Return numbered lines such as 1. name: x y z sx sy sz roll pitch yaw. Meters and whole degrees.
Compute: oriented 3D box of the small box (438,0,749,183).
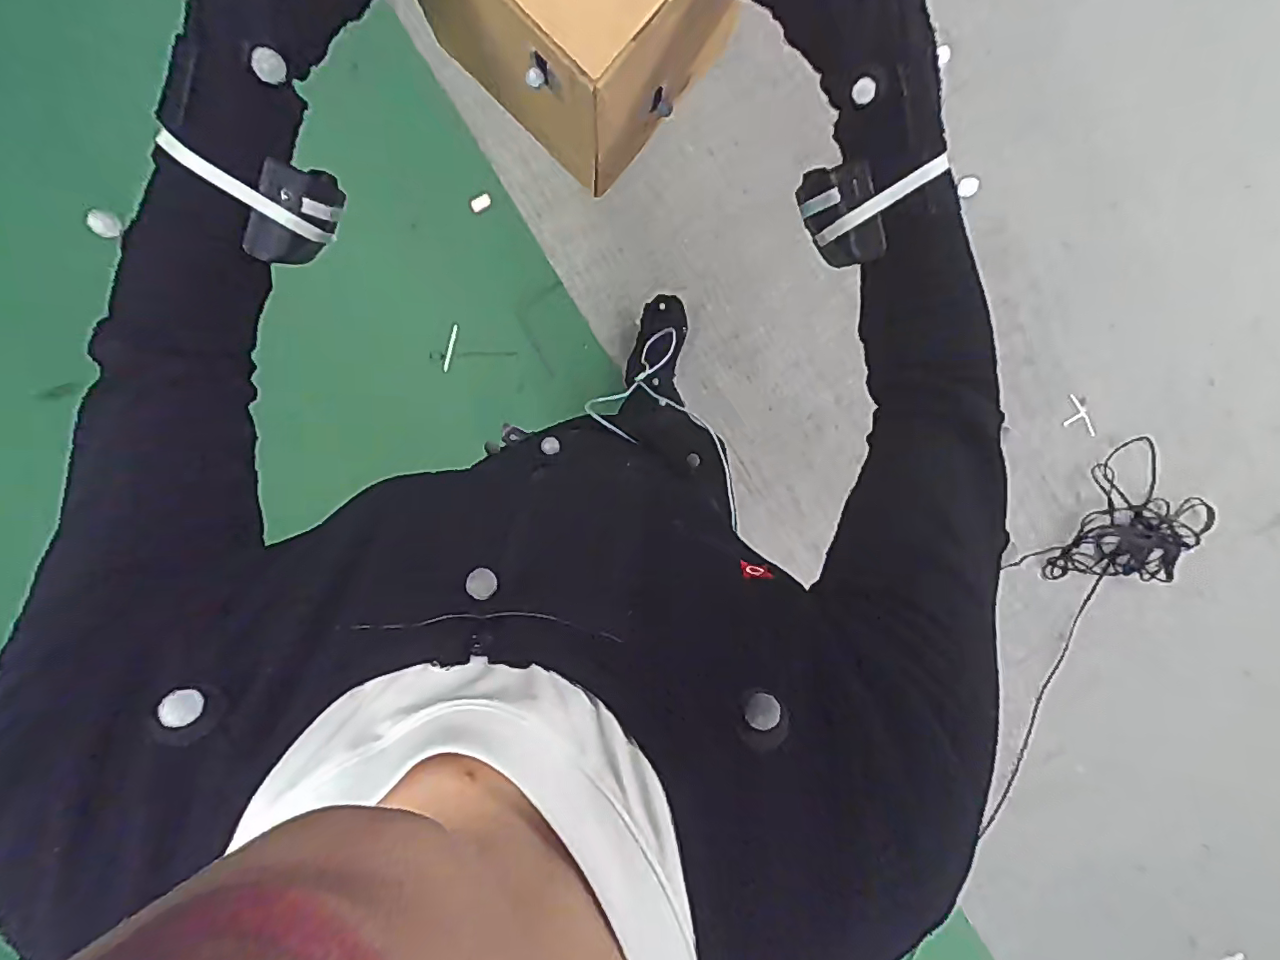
1. small box: -0.034 -0.349 0.369 0.179 0.176 0.168 42 93 -9
